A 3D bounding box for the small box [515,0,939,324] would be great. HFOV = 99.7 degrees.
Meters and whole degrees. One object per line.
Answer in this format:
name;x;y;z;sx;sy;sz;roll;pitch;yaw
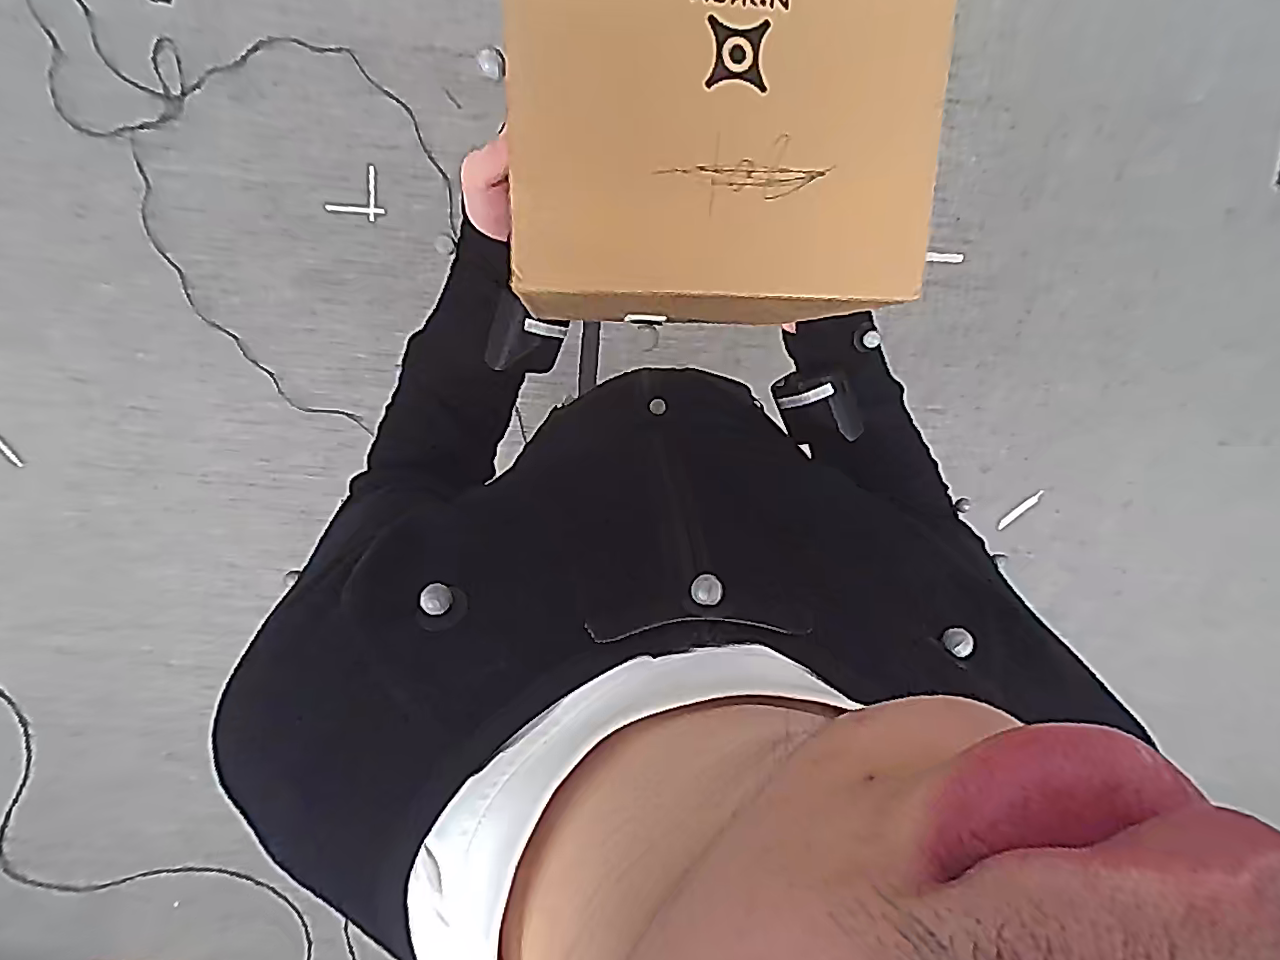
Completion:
small box;0.025;-0.180;0.283;0.168;0.176;0.179;0;103;-7
